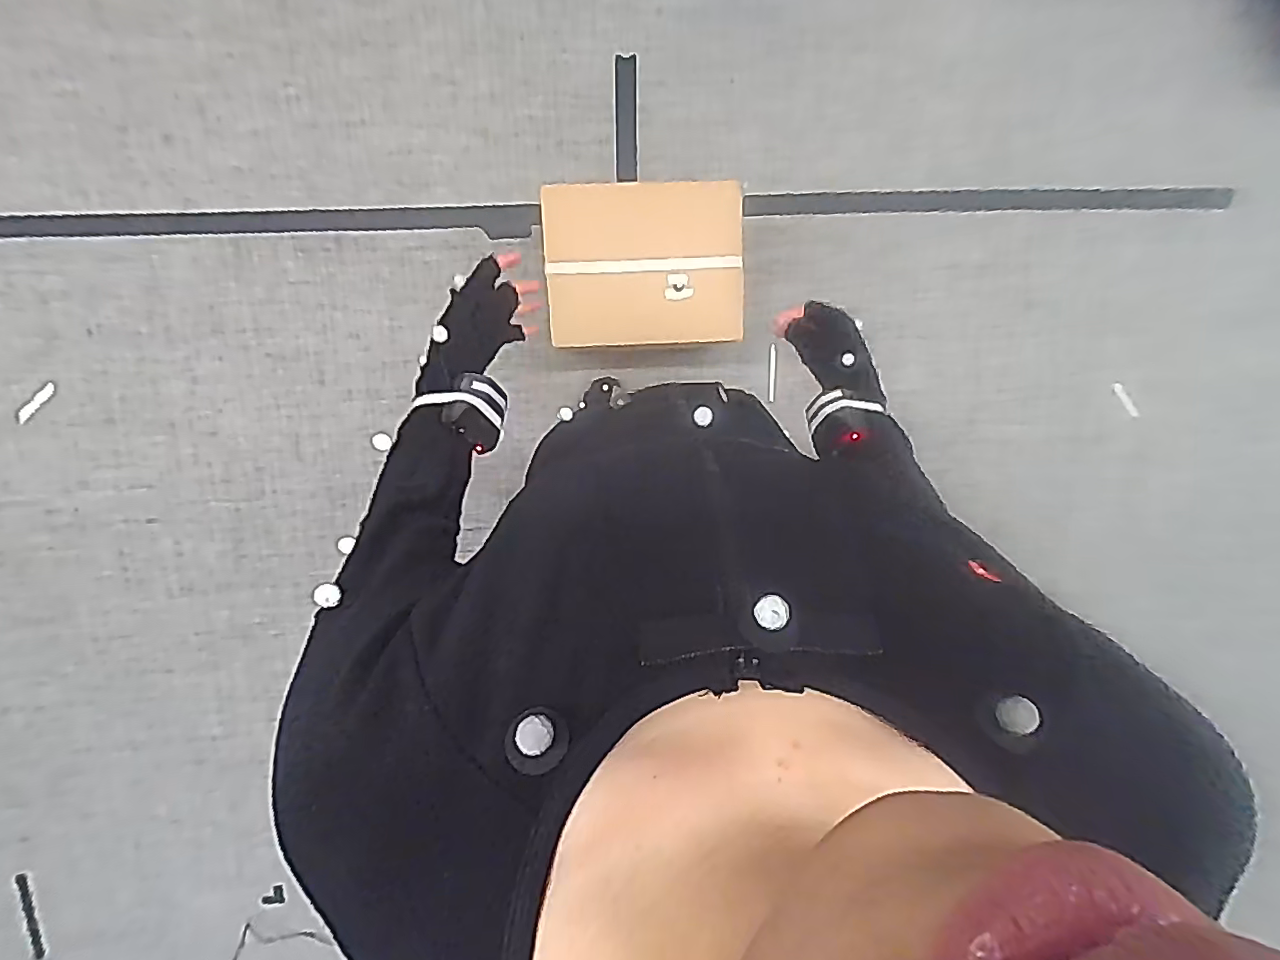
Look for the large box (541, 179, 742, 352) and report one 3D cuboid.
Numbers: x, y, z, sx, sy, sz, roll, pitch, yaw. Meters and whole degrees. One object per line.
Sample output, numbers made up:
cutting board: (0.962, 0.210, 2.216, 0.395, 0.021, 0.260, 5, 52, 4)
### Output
large box: (-0.003, -0.471, 1.250, 0.408, 0.320, 0.320, -4, 102, -4)
